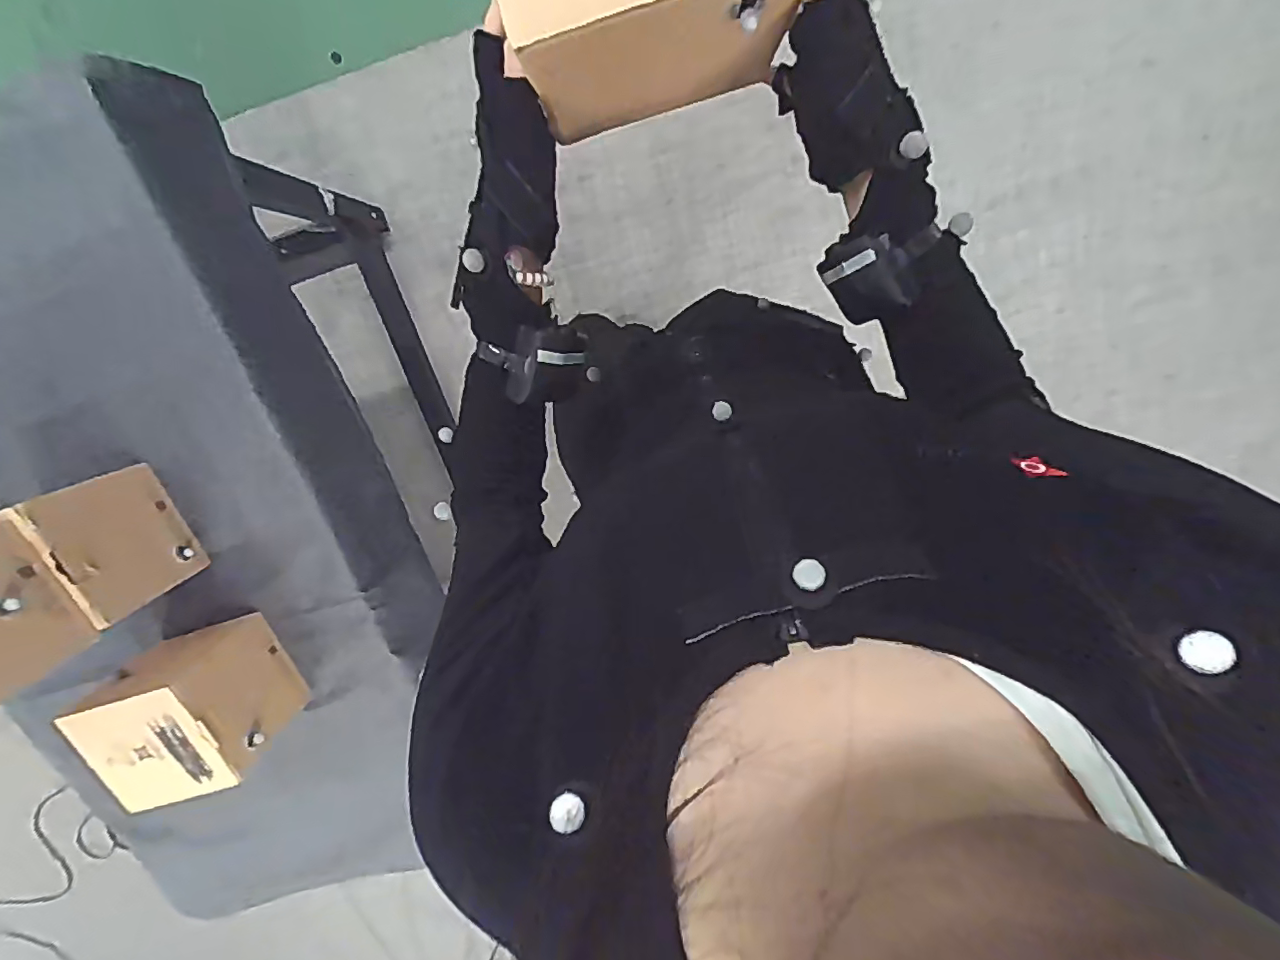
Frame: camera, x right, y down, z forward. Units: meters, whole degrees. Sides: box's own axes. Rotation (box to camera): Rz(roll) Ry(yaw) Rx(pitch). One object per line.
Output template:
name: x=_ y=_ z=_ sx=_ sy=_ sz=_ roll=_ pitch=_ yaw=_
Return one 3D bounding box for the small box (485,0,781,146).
small box: x=-0.011 y=-0.343 z=0.339 sx=0.179 sy=0.176 sz=0.168 roll=-16 pitch=105 yaw=4

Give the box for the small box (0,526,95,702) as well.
small box: x=-0.739 y=0.169 z=0.547 sx=0.179 sy=0.176 sz=0.168 roll=-19 pitch=107 yaw=6

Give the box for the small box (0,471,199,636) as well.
small box: x=-0.728 y=0.103 z=0.697 sx=0.179 sy=0.176 sz=0.168 roll=-17 pitch=107 yaw=7
